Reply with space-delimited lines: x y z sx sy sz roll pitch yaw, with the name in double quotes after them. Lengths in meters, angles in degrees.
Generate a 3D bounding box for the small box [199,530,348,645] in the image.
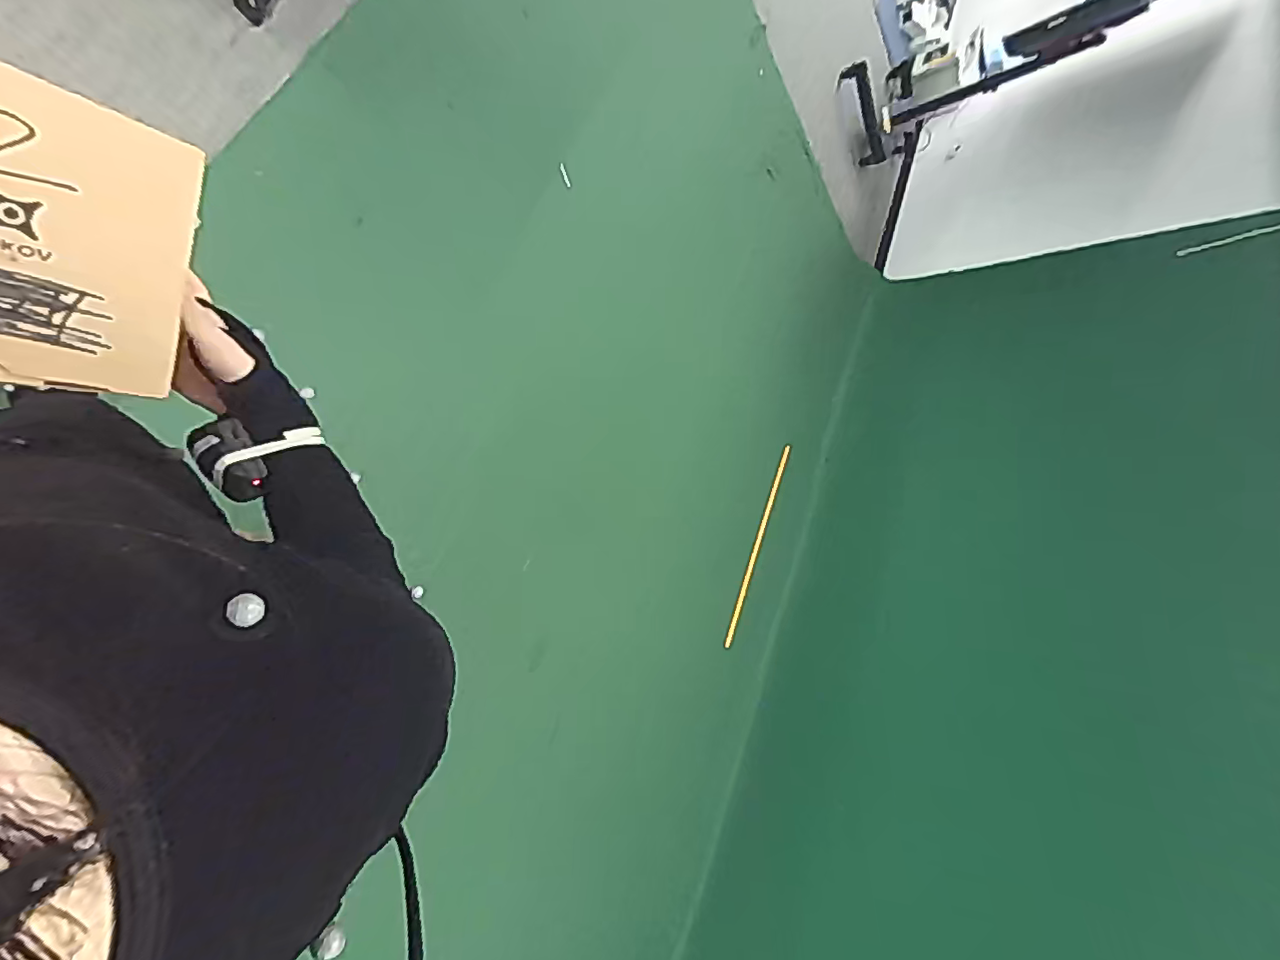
-0.761 0.217 1.126 0.179 0.176 0.168 46 60 -40 "small box"

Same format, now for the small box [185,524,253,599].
-0.886 0.210 1.234 0.179 0.176 0.168 43 62 -42 "small box"
